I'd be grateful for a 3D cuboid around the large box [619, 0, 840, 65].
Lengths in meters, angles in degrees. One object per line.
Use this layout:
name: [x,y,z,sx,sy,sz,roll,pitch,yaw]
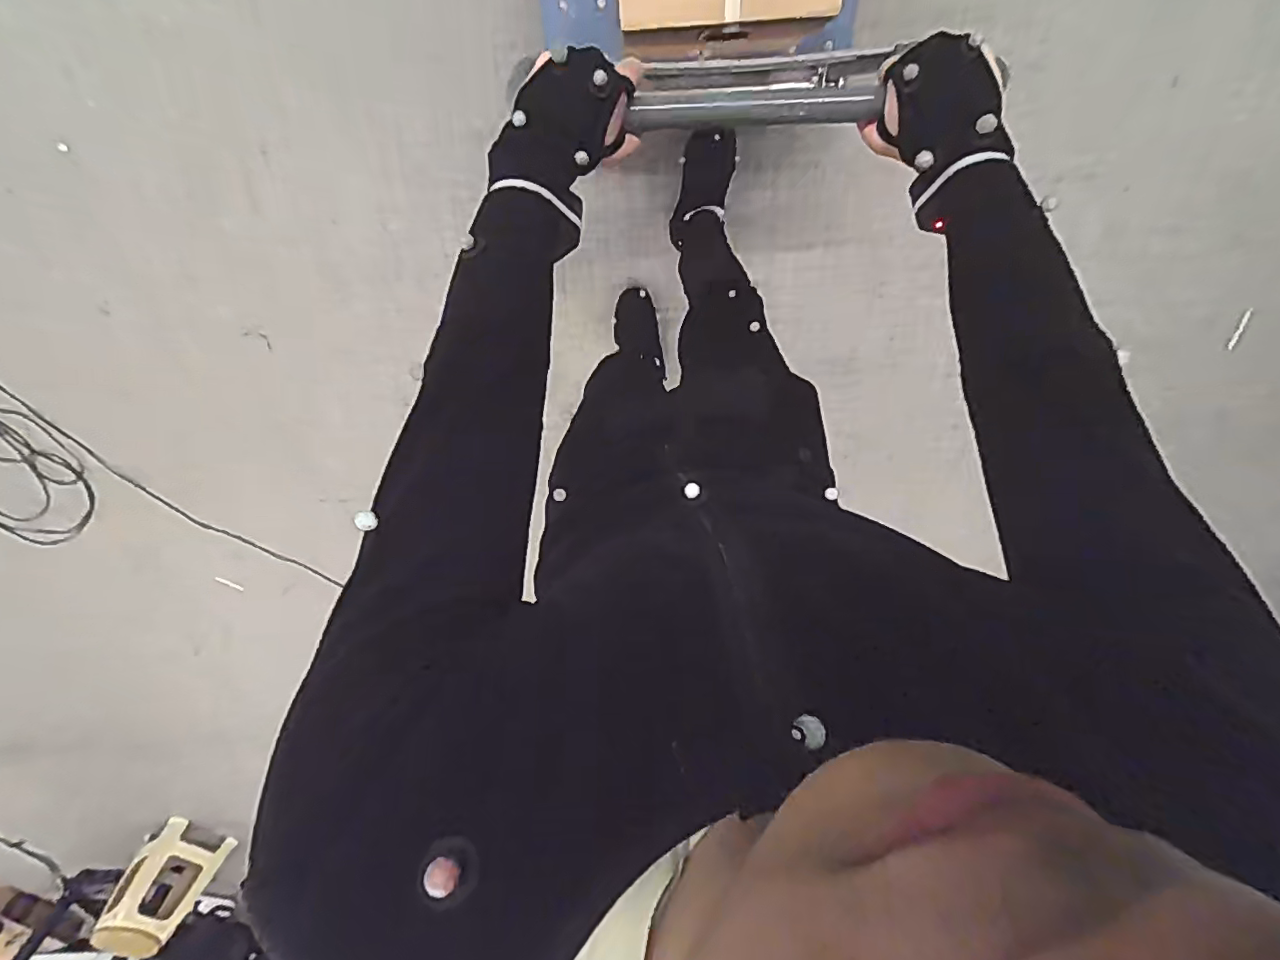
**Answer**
large box: [0.118,-0.895,0.797,0.320,0.320,0.408,-2,120,1]
